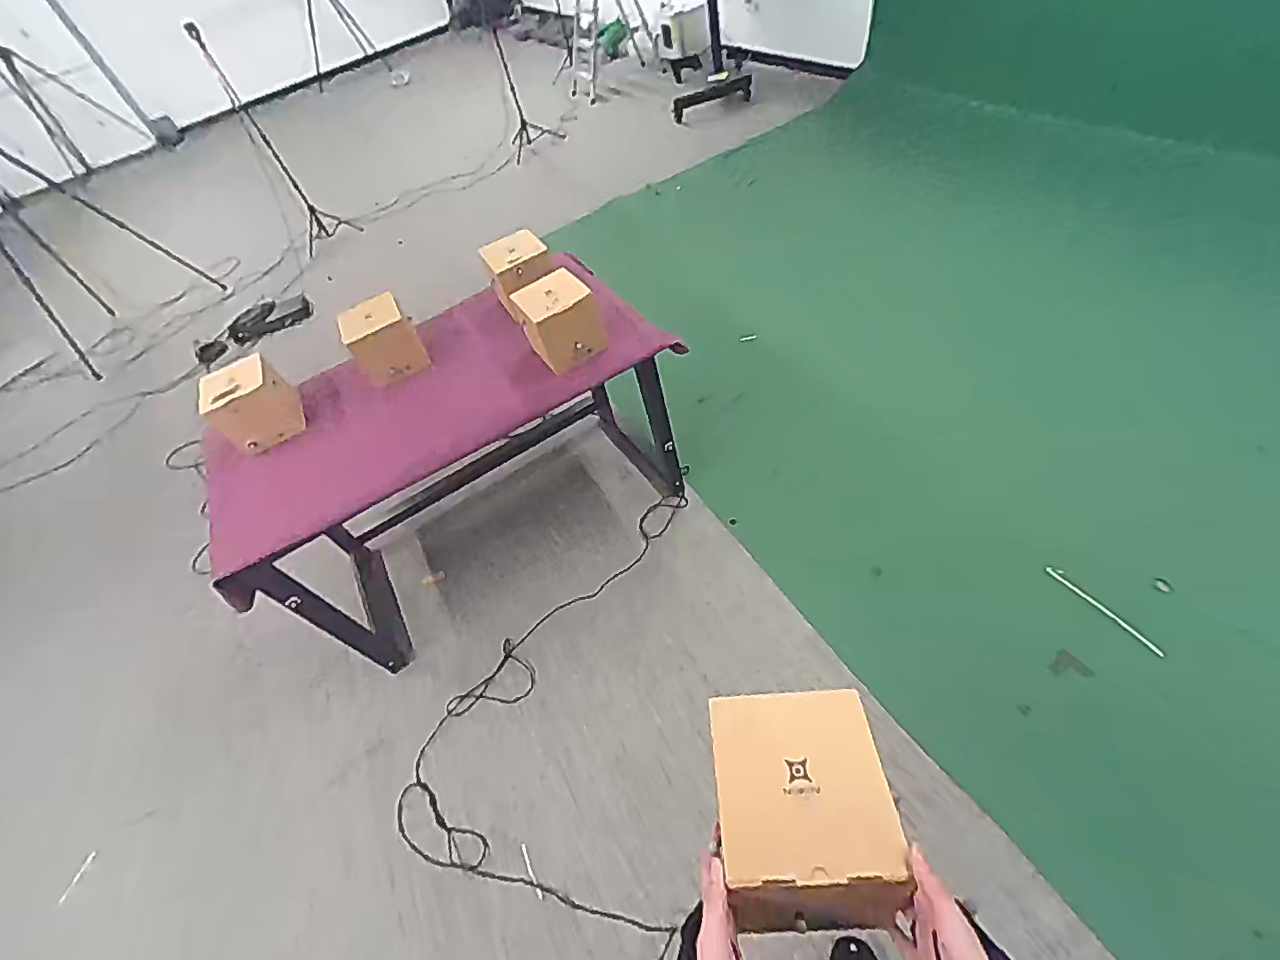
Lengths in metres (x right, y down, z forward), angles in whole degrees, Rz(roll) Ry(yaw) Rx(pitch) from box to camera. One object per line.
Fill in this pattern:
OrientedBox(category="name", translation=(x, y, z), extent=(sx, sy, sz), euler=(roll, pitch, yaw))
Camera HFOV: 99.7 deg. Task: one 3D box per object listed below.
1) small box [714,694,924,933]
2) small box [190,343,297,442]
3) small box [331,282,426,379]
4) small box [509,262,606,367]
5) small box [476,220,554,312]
OrientedBox(category="small box", translation=(0.170, 0.357, 0.582), extent=(0.168, 0.176, 0.179), euler=(-6, 41, 3))
OrientedBox(category="small box", translation=(-1.045, -0.224, 1.435), extent=(0.168, 0.176, 0.179), euler=(-29, 53, -11))
OrientedBox(category="small box", translation=(-0.729, -0.415, 1.514), extent=(0.168, 0.176, 0.179), euler=(-28, 53, -8))
OrientedBox(category="small box", translation=(-0.210, -0.426, 1.398), extent=(0.168, 0.176, 0.179), euler=(-32, 53, -10))
OrientedBox(category="small box", translation=(-0.351, -0.622, 1.584), extent=(0.168, 0.176, 0.179), euler=(-30, 53, -9))
